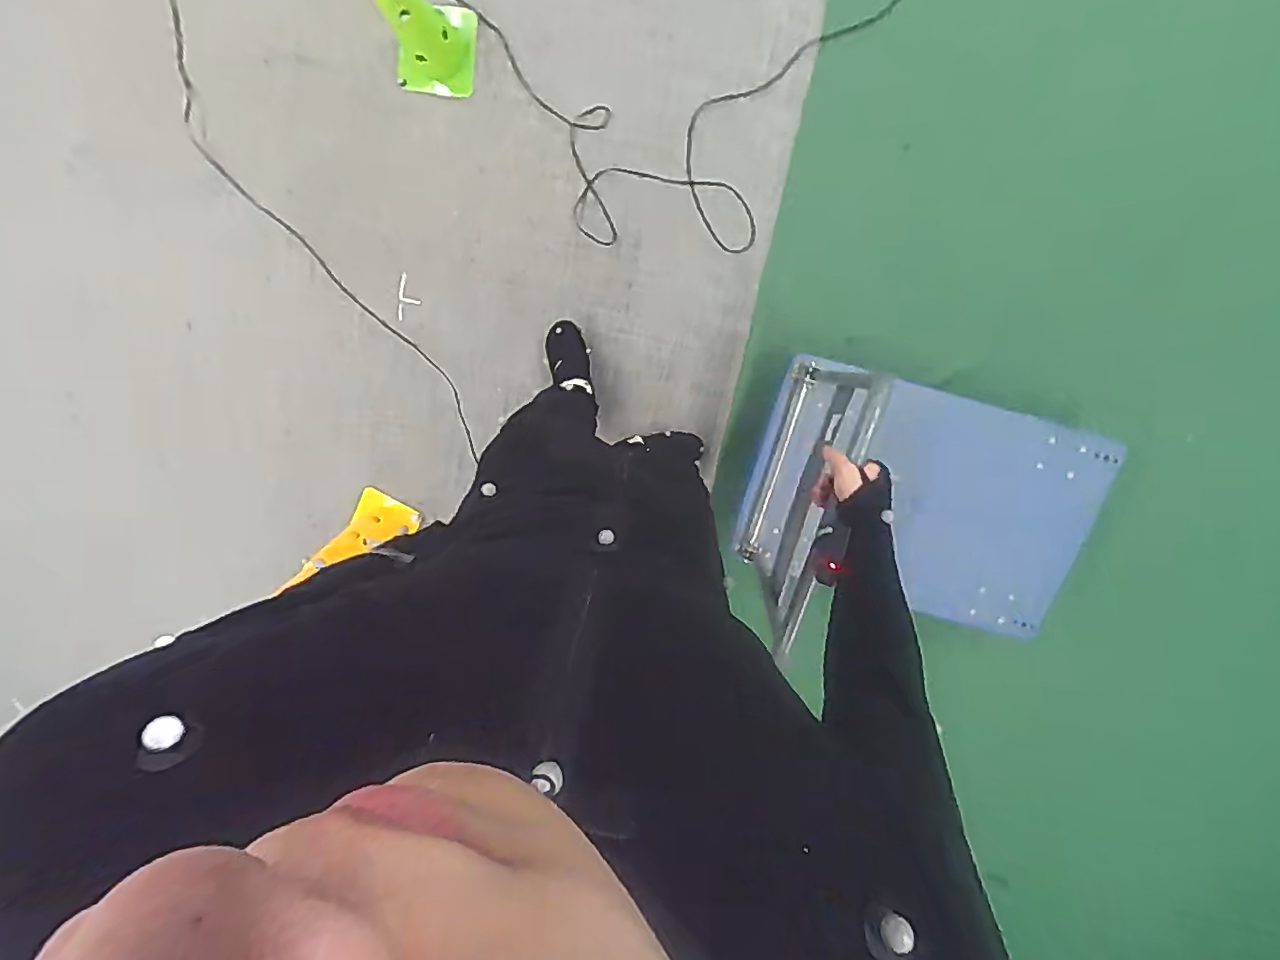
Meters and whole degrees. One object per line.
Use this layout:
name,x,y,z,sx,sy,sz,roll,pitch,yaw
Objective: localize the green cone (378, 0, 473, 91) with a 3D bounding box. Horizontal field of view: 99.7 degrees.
green cone,-0.538,-1.074,1.211,0.200,0.368,0.202,8,103,2
